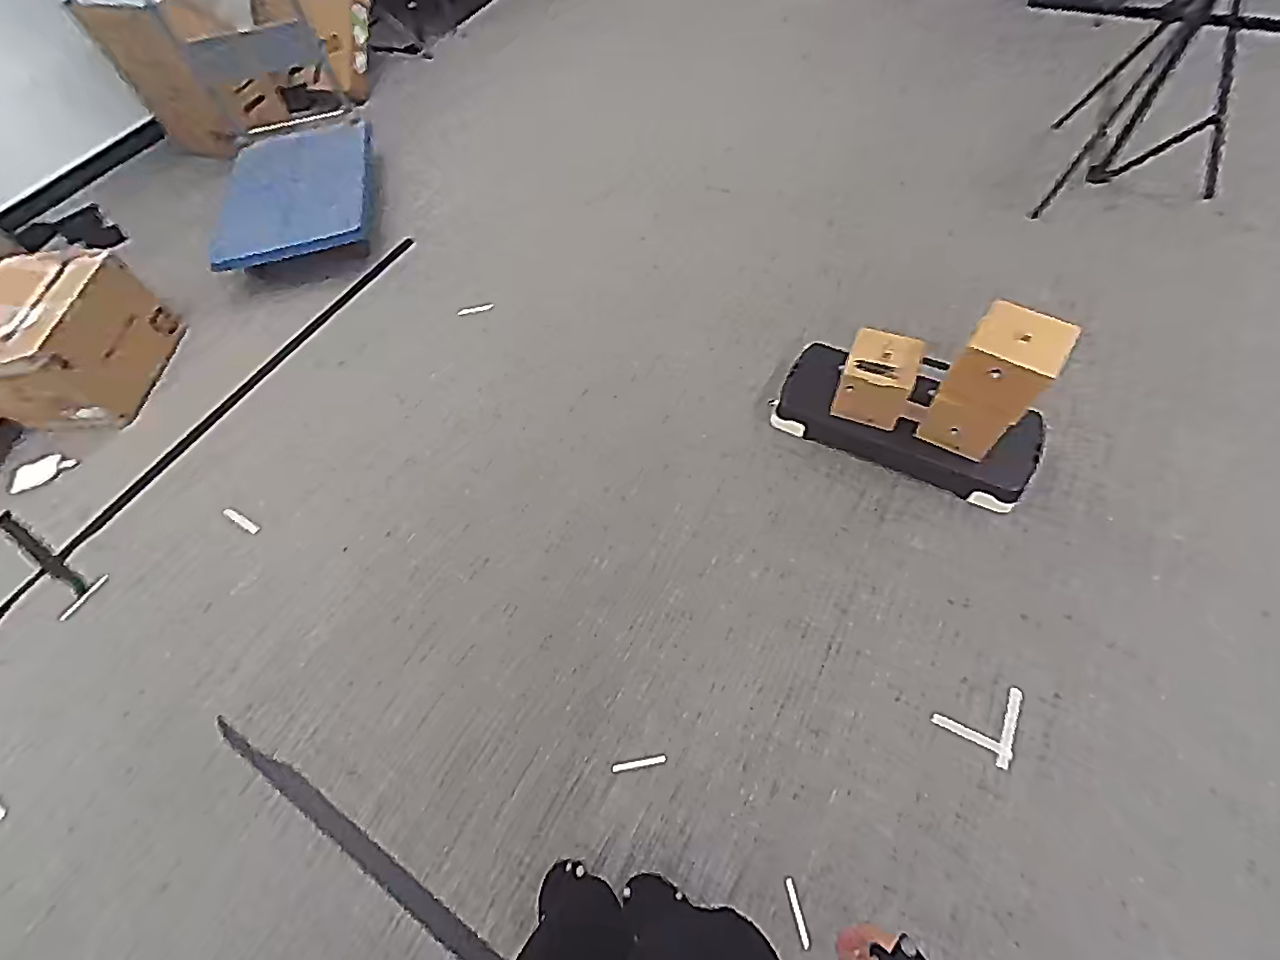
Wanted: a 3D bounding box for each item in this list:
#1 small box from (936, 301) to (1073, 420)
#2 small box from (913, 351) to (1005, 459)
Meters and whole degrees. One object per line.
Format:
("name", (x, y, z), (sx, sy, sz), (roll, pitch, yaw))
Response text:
("small box", (0.807, -0.260, 1.212), (0.179, 0.176, 0.168), (31, 68, 23))
("small box", (0.813, -0.184, 1.355), (0.168, 0.176, 0.179), (28, 67, 20))
